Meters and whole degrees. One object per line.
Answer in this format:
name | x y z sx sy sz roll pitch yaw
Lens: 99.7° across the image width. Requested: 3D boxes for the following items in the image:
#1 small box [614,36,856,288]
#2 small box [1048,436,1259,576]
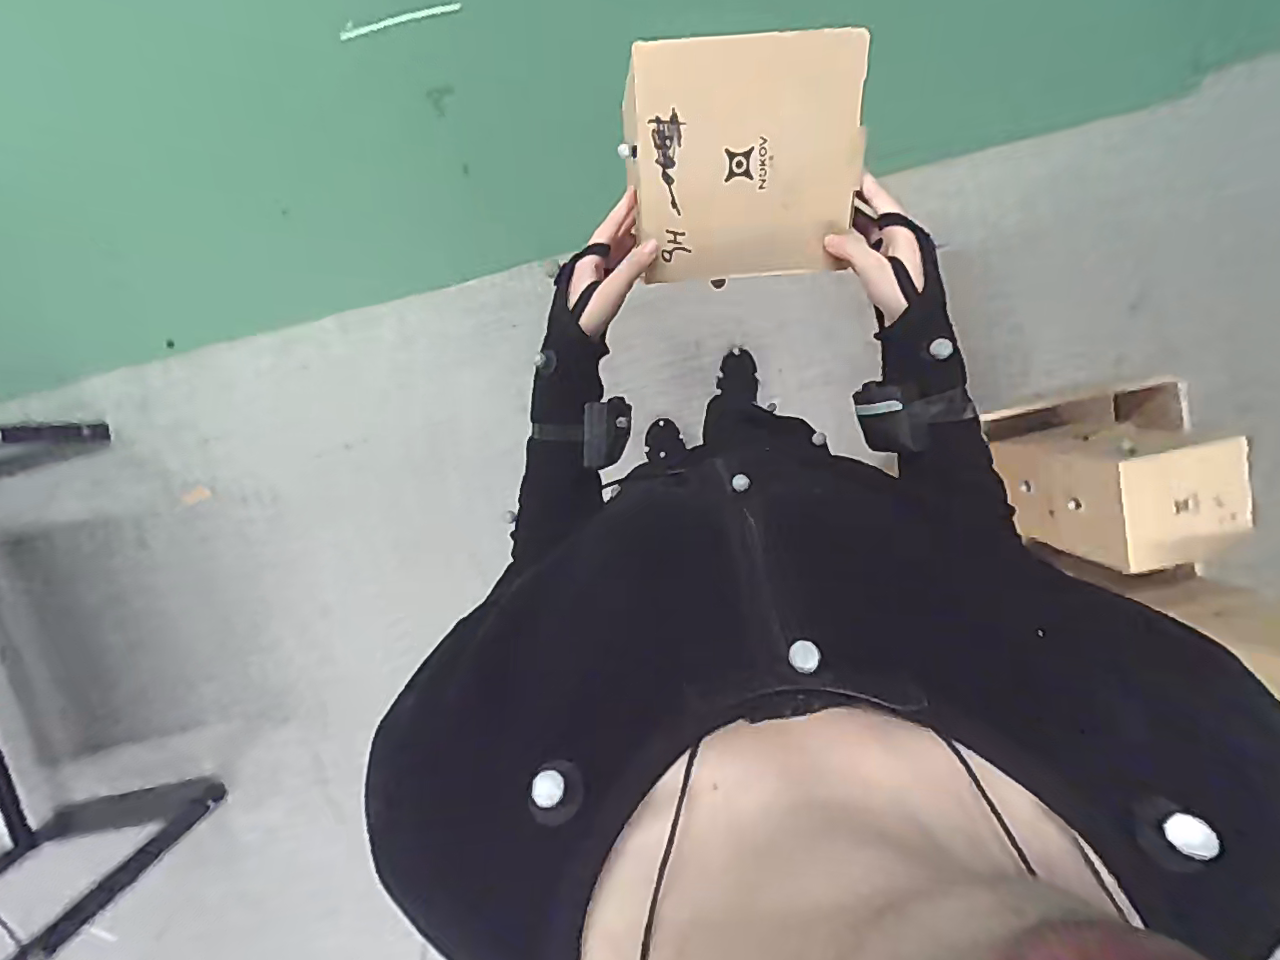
small box | 0.071 -0.273 0.495 0.179 0.176 0.168 -6 112 -2
small box | 0.766 0.032 0.829 0.179 0.176 0.168 -12 98 4
